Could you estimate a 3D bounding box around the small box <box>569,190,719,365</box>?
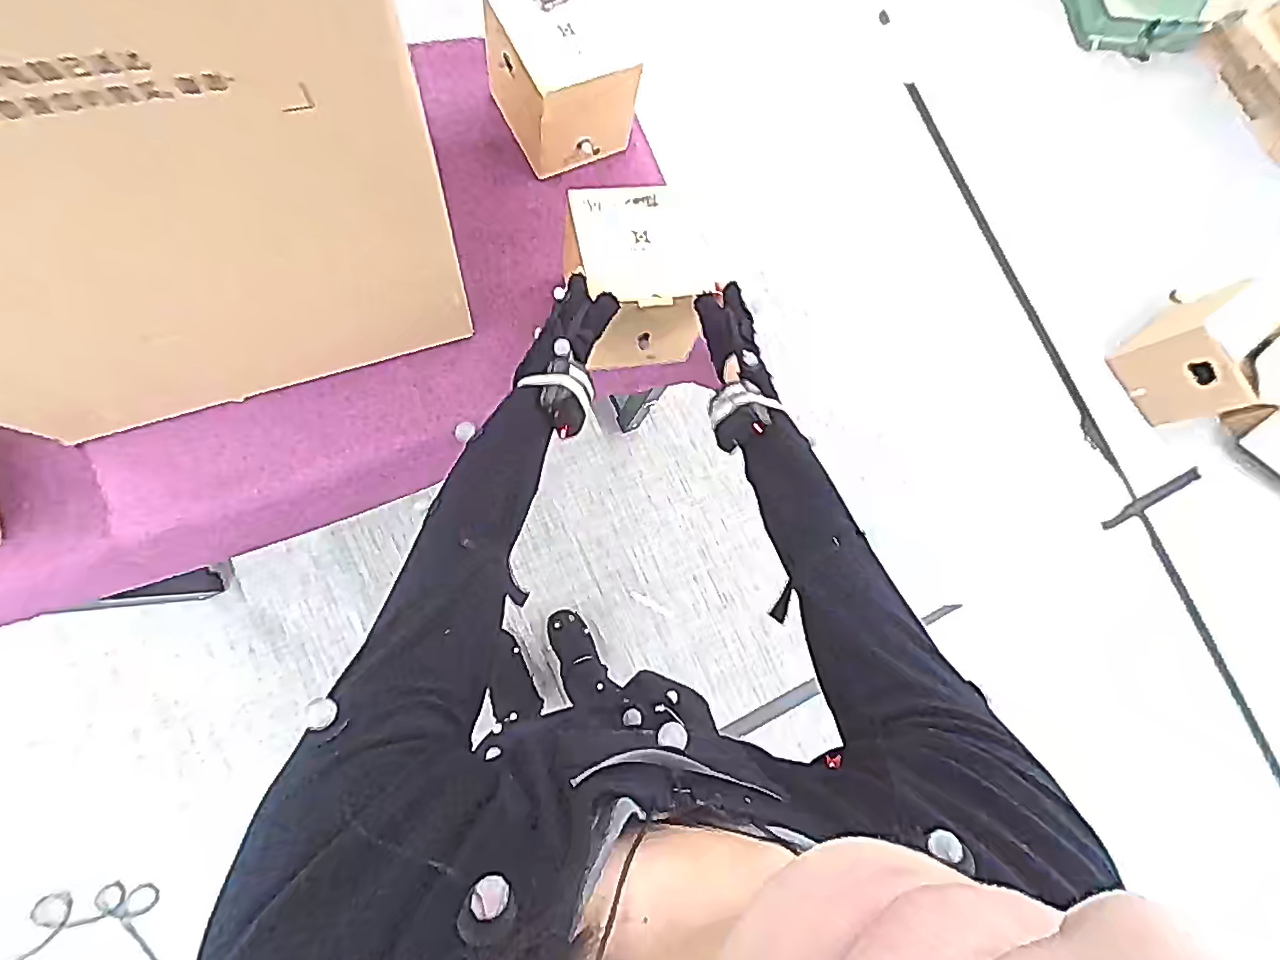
[{"bbox_3d":[-0.005,-0.276,0.767,0.168,0.176,0.179,-8,73,-13],"label":"small box"}]
